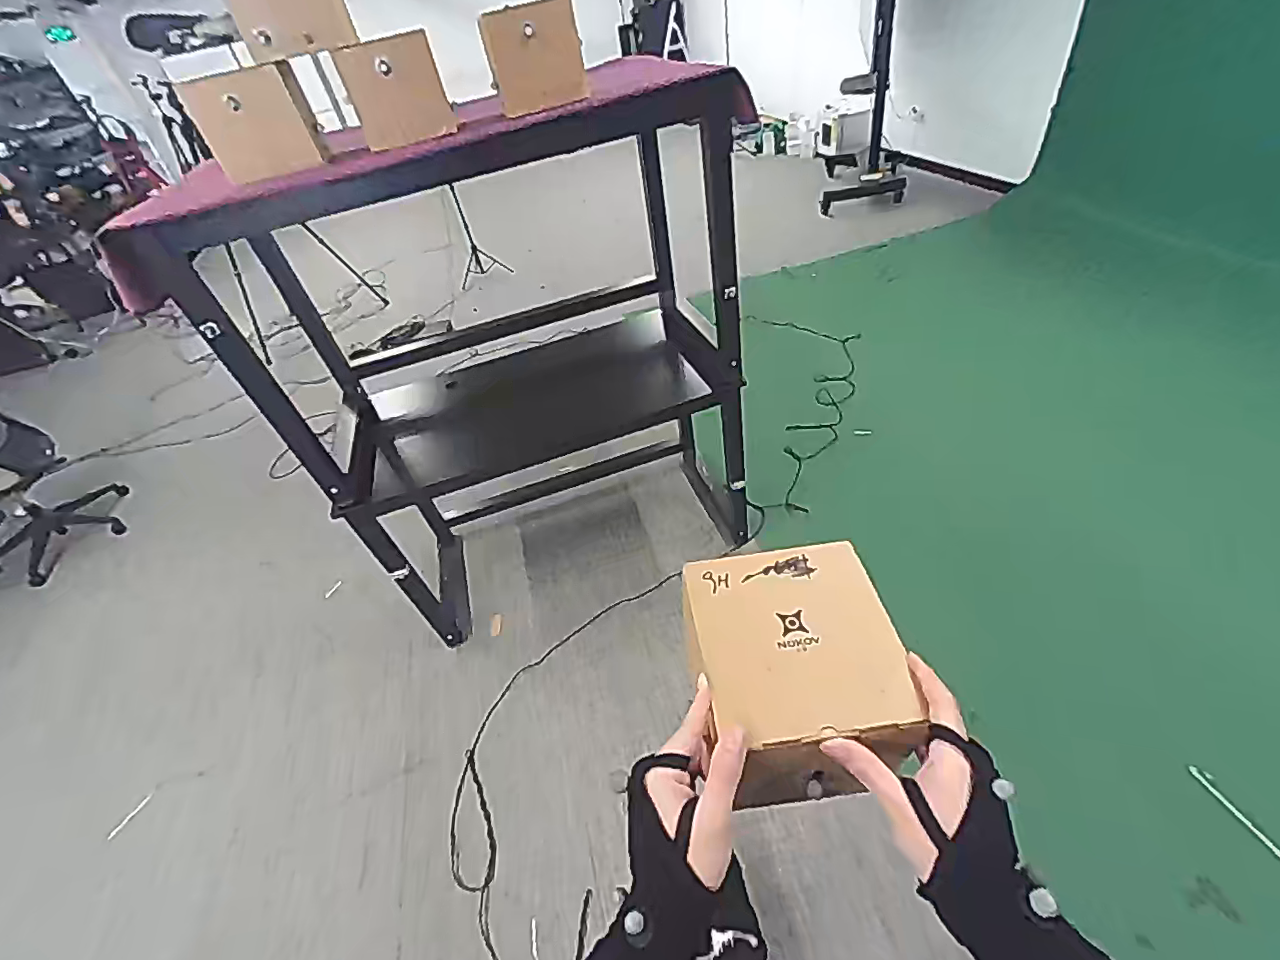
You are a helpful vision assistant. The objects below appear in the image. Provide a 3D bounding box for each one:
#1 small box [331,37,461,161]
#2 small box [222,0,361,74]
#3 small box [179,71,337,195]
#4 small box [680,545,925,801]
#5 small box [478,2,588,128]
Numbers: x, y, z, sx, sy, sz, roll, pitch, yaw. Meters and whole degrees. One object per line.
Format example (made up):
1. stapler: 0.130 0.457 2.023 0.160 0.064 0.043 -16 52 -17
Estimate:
1. small box: -0.477 -0.759 1.081 0.179 0.176 0.168 -18 42 -6
2. small box: -0.627 -0.847 0.969 0.168 0.176 0.179 -17 41 -5
3. small box: -0.732 -0.679 1.059 0.179 0.176 0.168 -20 43 -7
4. small box: 0.135 0.190 0.521 0.168 0.176 0.179 -8 46 -1
5. small box: -0.216 -0.851 1.112 0.179 0.176 0.168 -20 41 -5
